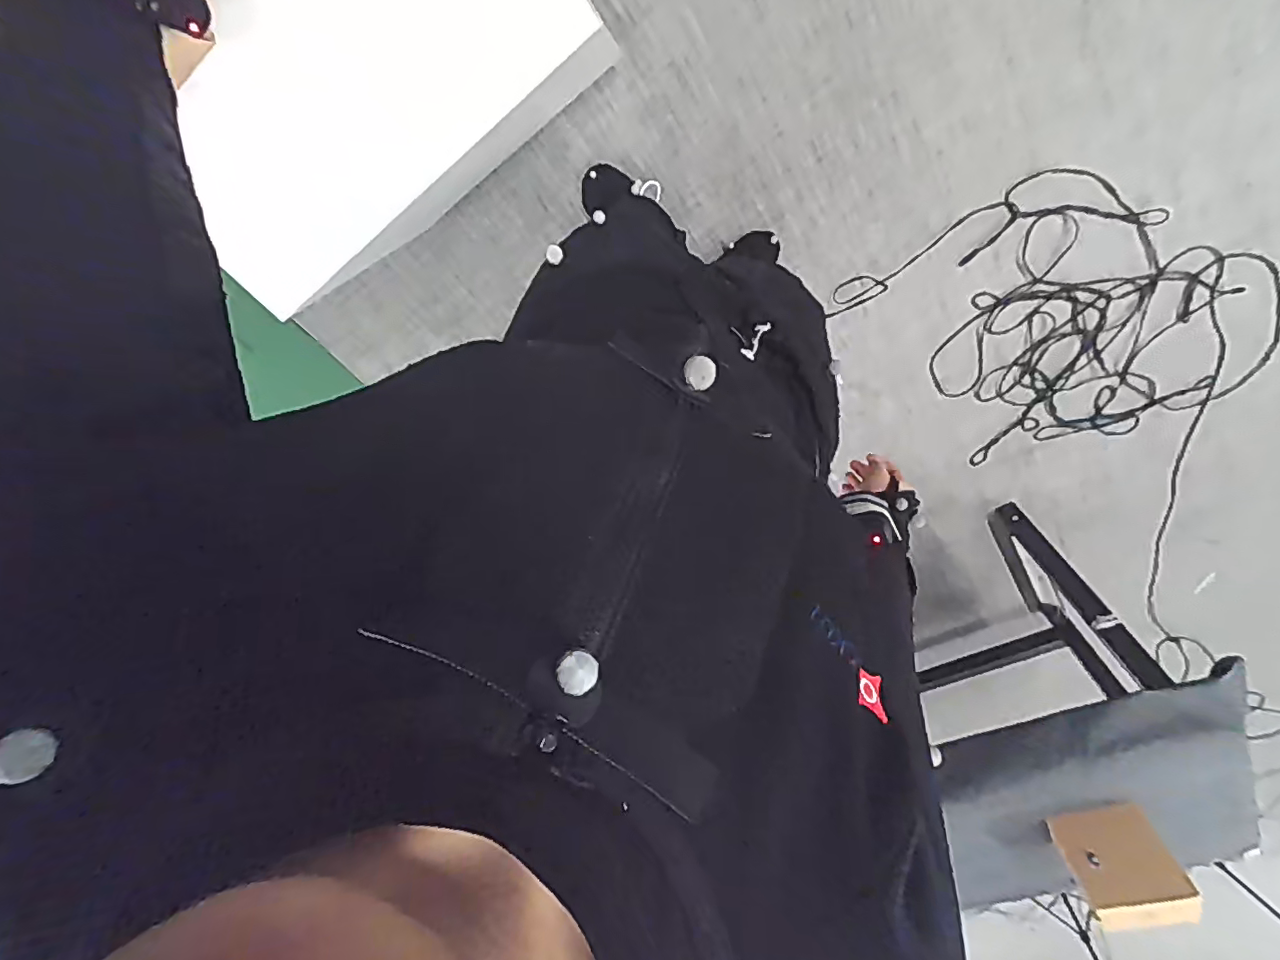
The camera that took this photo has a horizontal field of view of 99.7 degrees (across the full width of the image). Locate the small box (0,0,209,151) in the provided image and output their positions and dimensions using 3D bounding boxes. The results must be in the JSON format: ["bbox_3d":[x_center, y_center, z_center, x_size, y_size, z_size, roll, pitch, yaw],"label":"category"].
[{"bbox_3d":[-0.517,-0.396,0.435,0.168,0.176,0.179,-29,122,18],"label":"small box"}]

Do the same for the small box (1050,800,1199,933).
[{"bbox_3d":[0.986,0.796,1.117,0.179,0.176,0.168,-26,123,17],"label":"small box"}]
